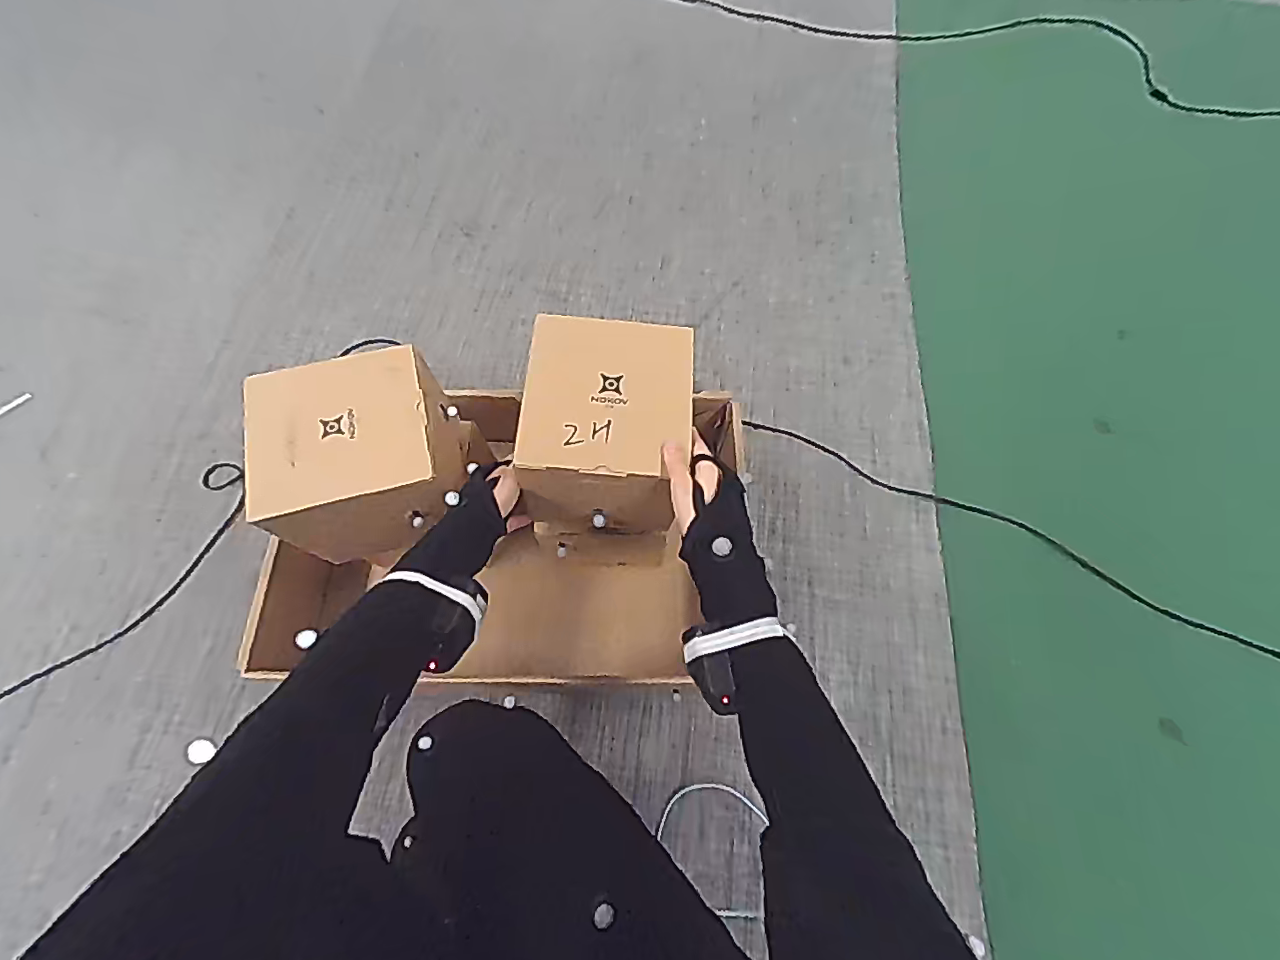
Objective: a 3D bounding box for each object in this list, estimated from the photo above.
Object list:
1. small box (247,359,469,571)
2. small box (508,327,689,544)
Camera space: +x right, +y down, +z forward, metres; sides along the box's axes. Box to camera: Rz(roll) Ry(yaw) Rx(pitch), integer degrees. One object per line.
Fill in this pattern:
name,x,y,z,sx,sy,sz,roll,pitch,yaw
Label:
small box,-0.305,-0.009,0.617,0.179,0.176,0.168,-14,68,-6
small box,-0.041,-0.042,0.605,0.168,0.176,0.179,5,67,-2
